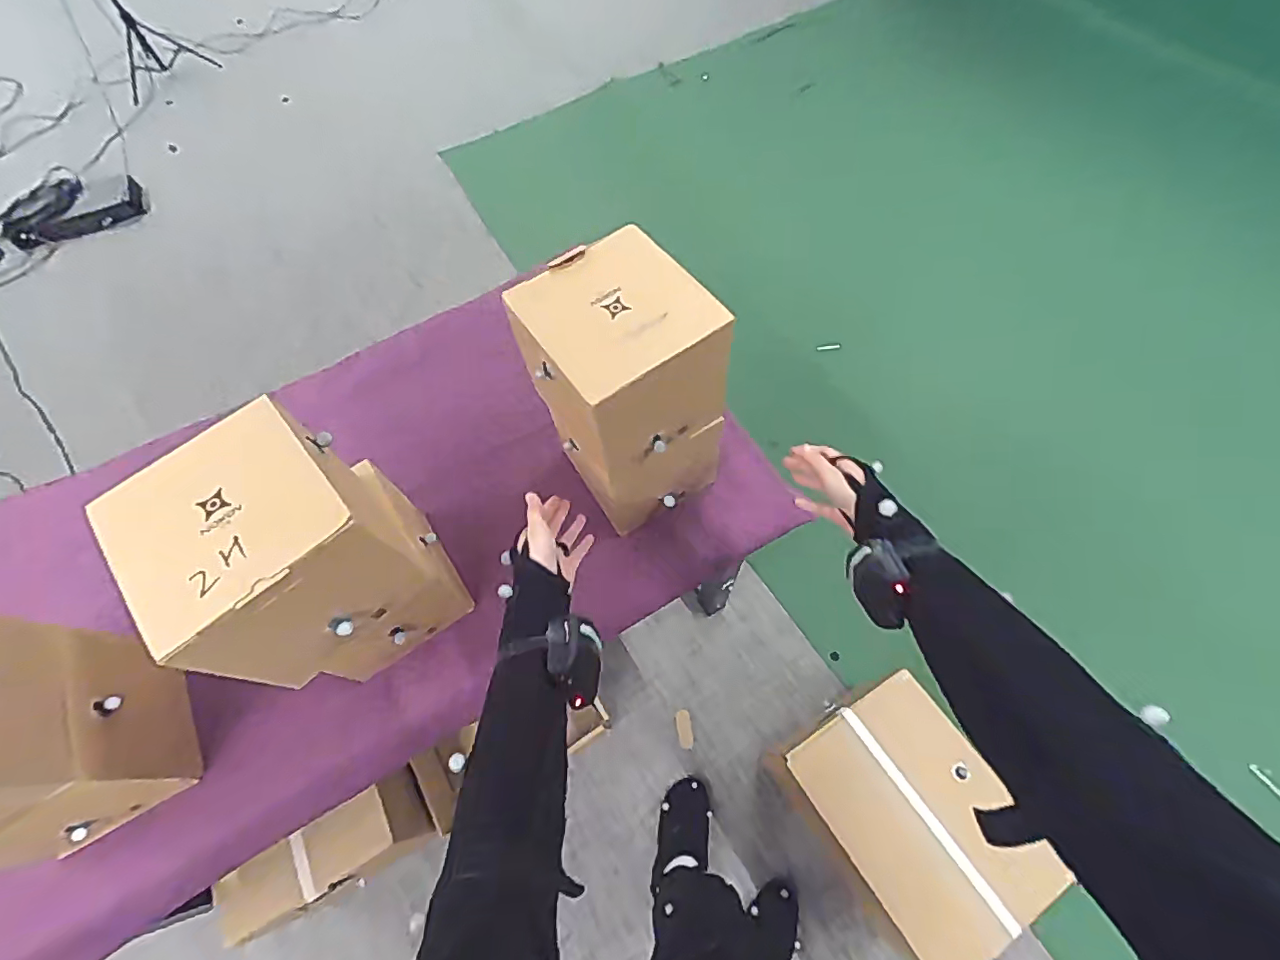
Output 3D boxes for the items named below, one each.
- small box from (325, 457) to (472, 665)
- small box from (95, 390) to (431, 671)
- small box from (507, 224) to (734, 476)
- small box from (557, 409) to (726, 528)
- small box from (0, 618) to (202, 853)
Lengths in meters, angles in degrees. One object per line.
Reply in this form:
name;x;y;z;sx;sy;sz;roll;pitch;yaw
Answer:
small box;-0.337;0.110;0.672;0.168;0.176;0.179;-34;66;-14
small box;-0.337;0.057;0.514;0.168;0.176;0.179;-40;68;-15
small box;-0.019;-0.137;0.599;0.168;0.176;0.179;-33;65;-12
small box;-0.005;-0.064;0.744;0.168;0.176;0.179;-30;66;-11
small box;-0.639;0.285;0.599;0.168;0.176;0.179;-28;66;-12
